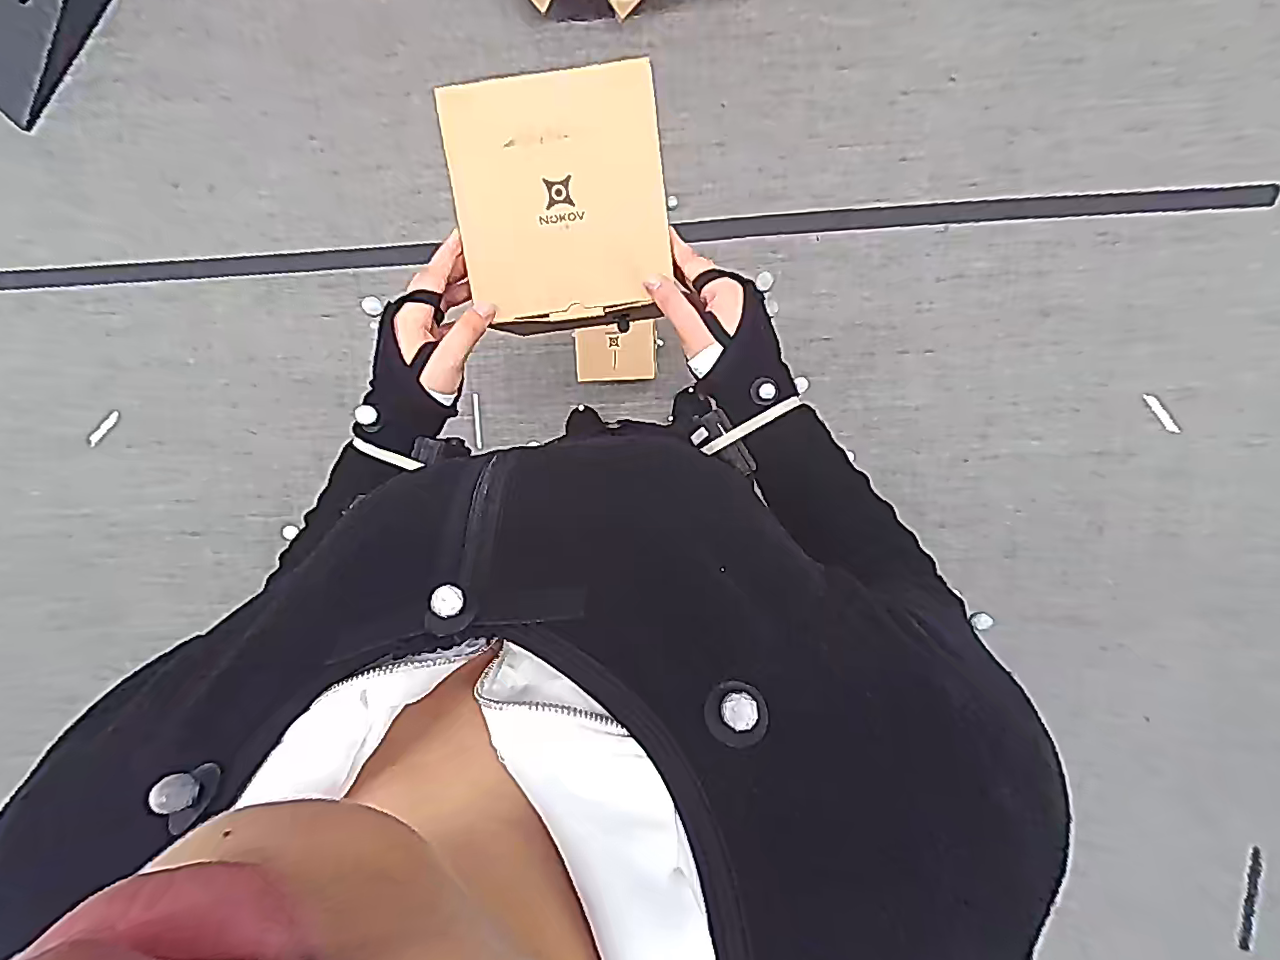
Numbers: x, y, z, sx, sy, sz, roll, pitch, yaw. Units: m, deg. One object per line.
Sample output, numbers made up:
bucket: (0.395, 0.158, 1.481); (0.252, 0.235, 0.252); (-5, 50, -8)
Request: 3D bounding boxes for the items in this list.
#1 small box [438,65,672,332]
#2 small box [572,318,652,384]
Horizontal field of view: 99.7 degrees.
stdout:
small box: (-0.064, -0.236, 0.503); (0.168, 0.176, 0.179); (-8, 102, 0)
small box: (-0.058, -0.304, 1.200); (0.168, 0.176, 0.179); (-1, 100, 2)
